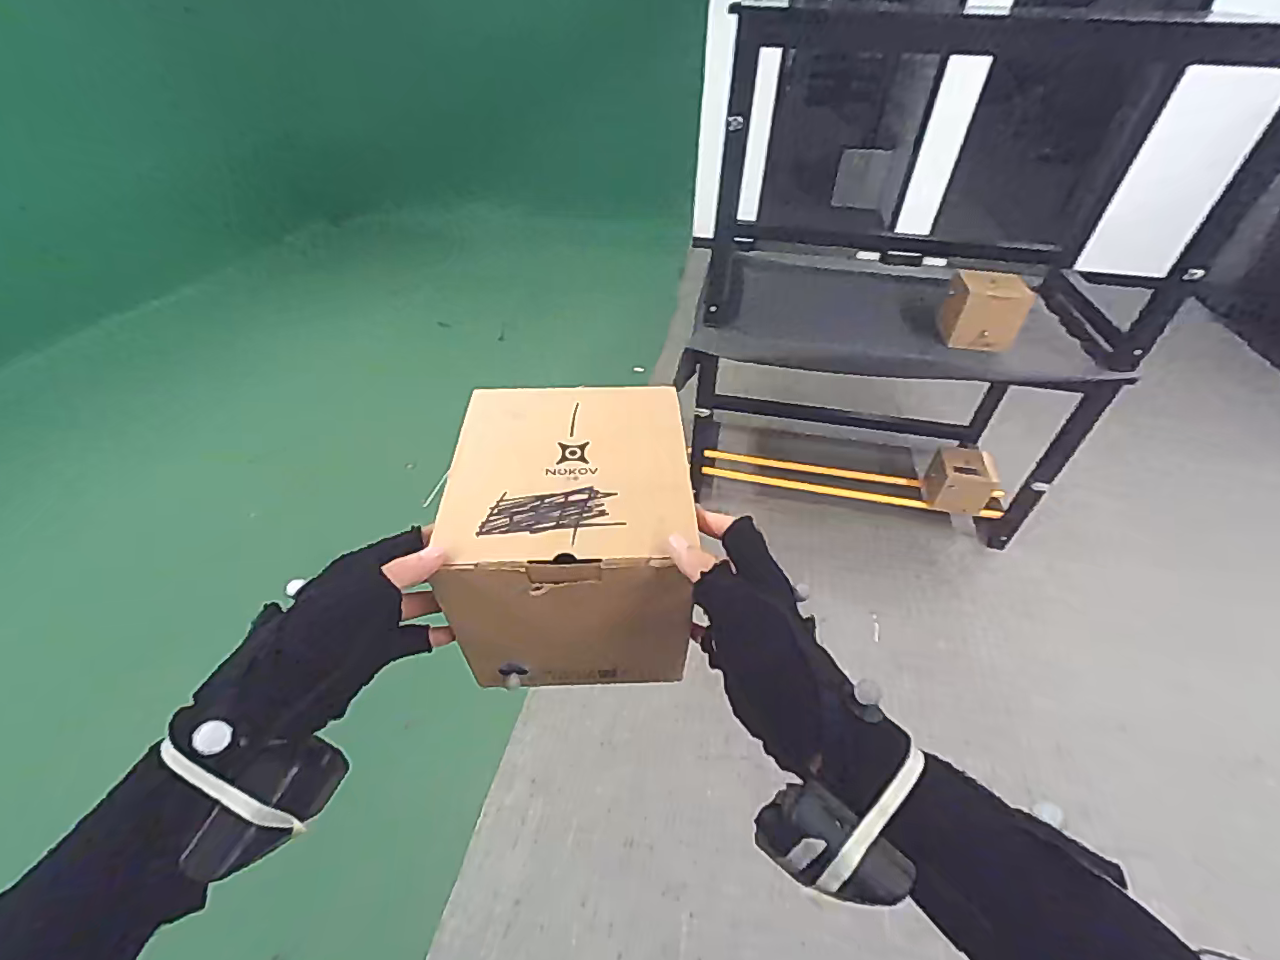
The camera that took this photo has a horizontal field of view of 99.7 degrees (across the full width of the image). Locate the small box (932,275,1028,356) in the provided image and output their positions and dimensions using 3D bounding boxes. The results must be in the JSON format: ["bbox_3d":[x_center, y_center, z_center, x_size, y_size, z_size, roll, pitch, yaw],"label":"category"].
[{"bbox_3d":[0.983,-0.483,1.585,0.168,0.176,0.179,7,41,8],"label":"small box"}]

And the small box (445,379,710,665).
[{"bbox_3d":[-0.040,0.037,0.440,0.168,0.176,0.179,-1,44,-2],"label":"small box"}]
